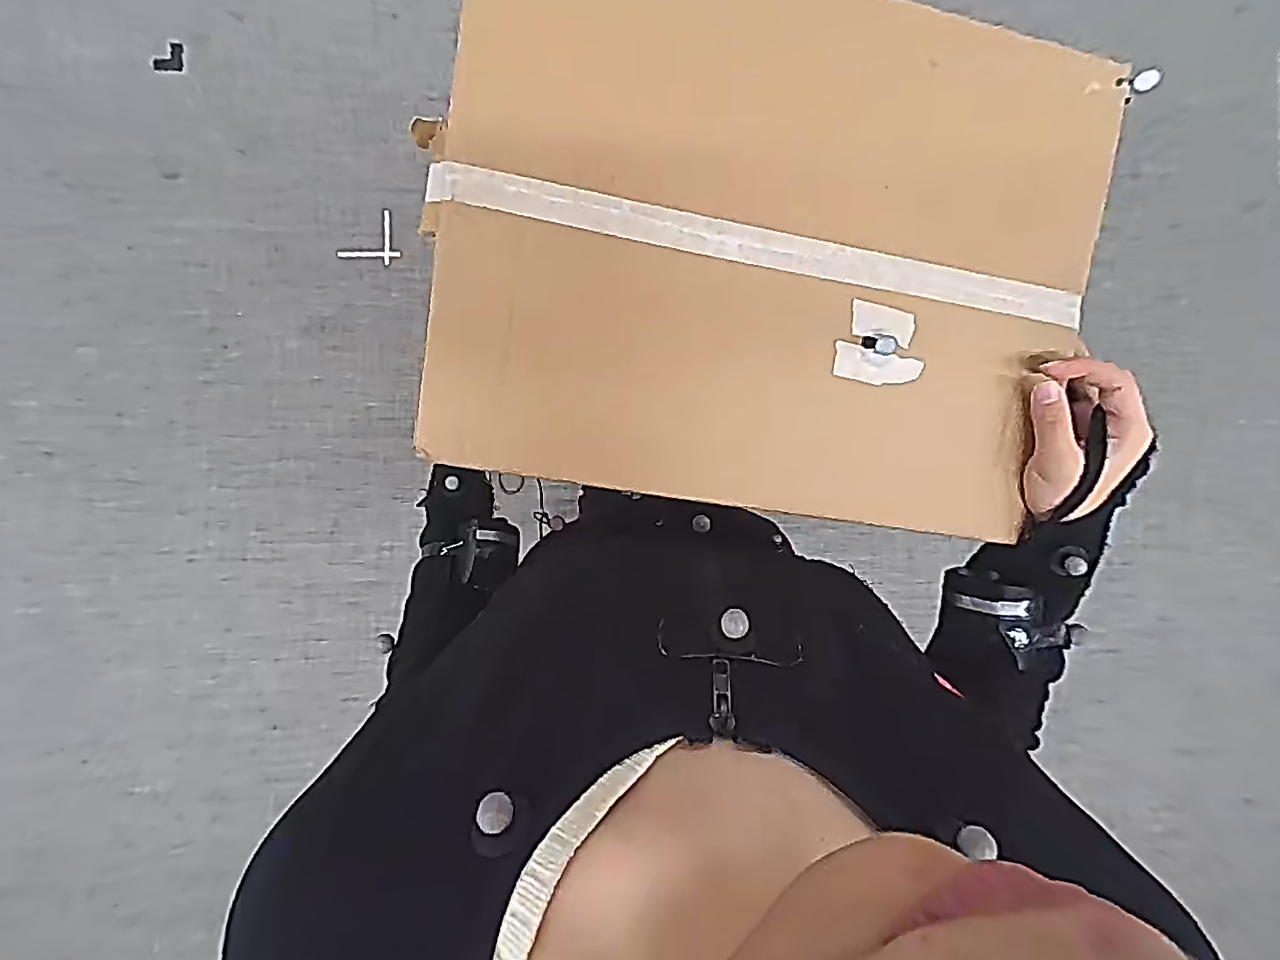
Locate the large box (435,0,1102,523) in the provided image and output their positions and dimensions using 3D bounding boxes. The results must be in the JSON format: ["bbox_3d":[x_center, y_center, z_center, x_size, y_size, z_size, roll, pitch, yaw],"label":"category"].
[{"bbox_3d":[0.068,-0.159,0.483,0.408,0.320,0.320,8,96,-10],"label":"large box"}]
